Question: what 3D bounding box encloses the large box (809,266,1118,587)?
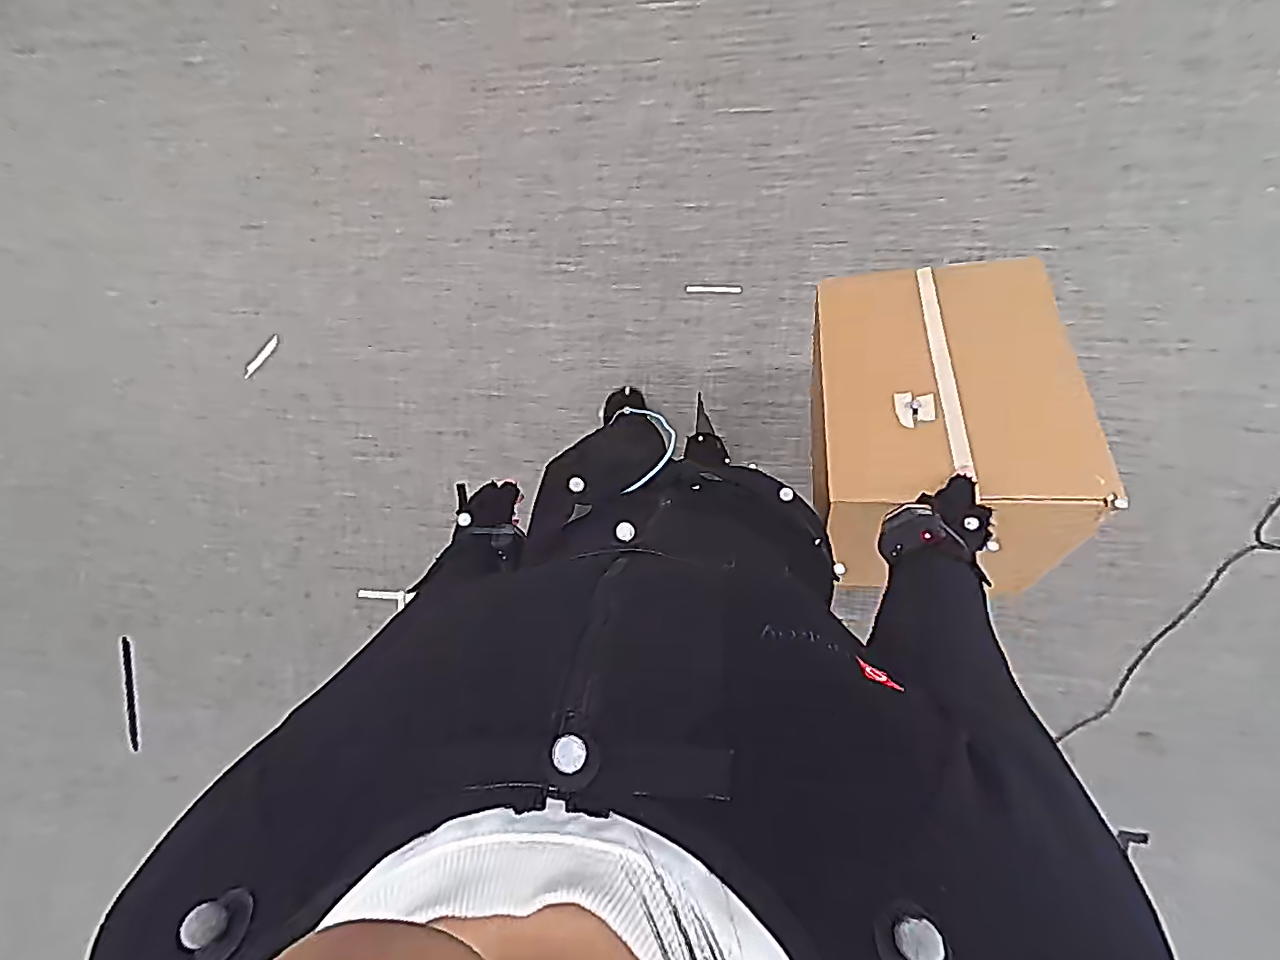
[{"bbox_3d":[0.447,-0.071,0.867,0.320,0.320,0.408,-2,61,15],"label":"large box"}]
